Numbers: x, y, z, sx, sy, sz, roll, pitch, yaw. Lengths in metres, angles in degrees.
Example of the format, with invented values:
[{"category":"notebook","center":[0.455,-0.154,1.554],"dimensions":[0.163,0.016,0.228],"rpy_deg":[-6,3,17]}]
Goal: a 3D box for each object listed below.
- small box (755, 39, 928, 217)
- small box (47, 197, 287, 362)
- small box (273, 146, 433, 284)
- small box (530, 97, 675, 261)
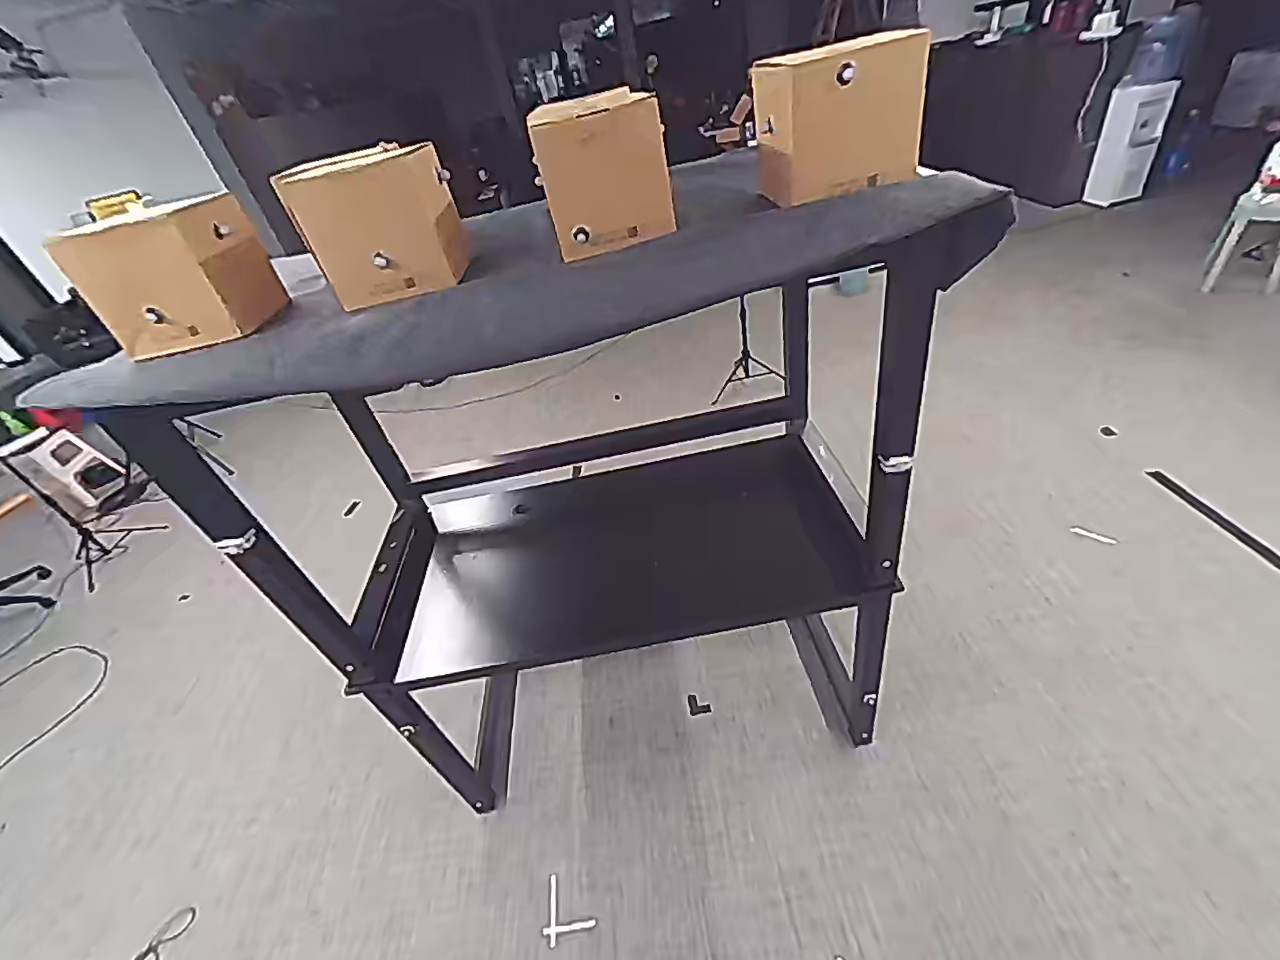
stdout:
[{"category":"small box","center":[0.263,-0.477,0.743],"dimensions":[0.168,0.176,0.179],"rpy_deg":[-13,37,2]},{"category":"small box","center":[-0.659,-0.293,0.788],"dimensions":[0.168,0.176,0.179],"rpy_deg":[-13,37,0]},{"category":"small box","center":[-0.493,-0.471,0.963],"dimensions":[0.179,0.176,0.168],"rpy_deg":[-13,38,0]},{"category":"small box","center":[-0.051,-0.431,0.782],"dimensions":[0.168,0.176,0.179],"rpy_deg":[-13,37,1]}]
